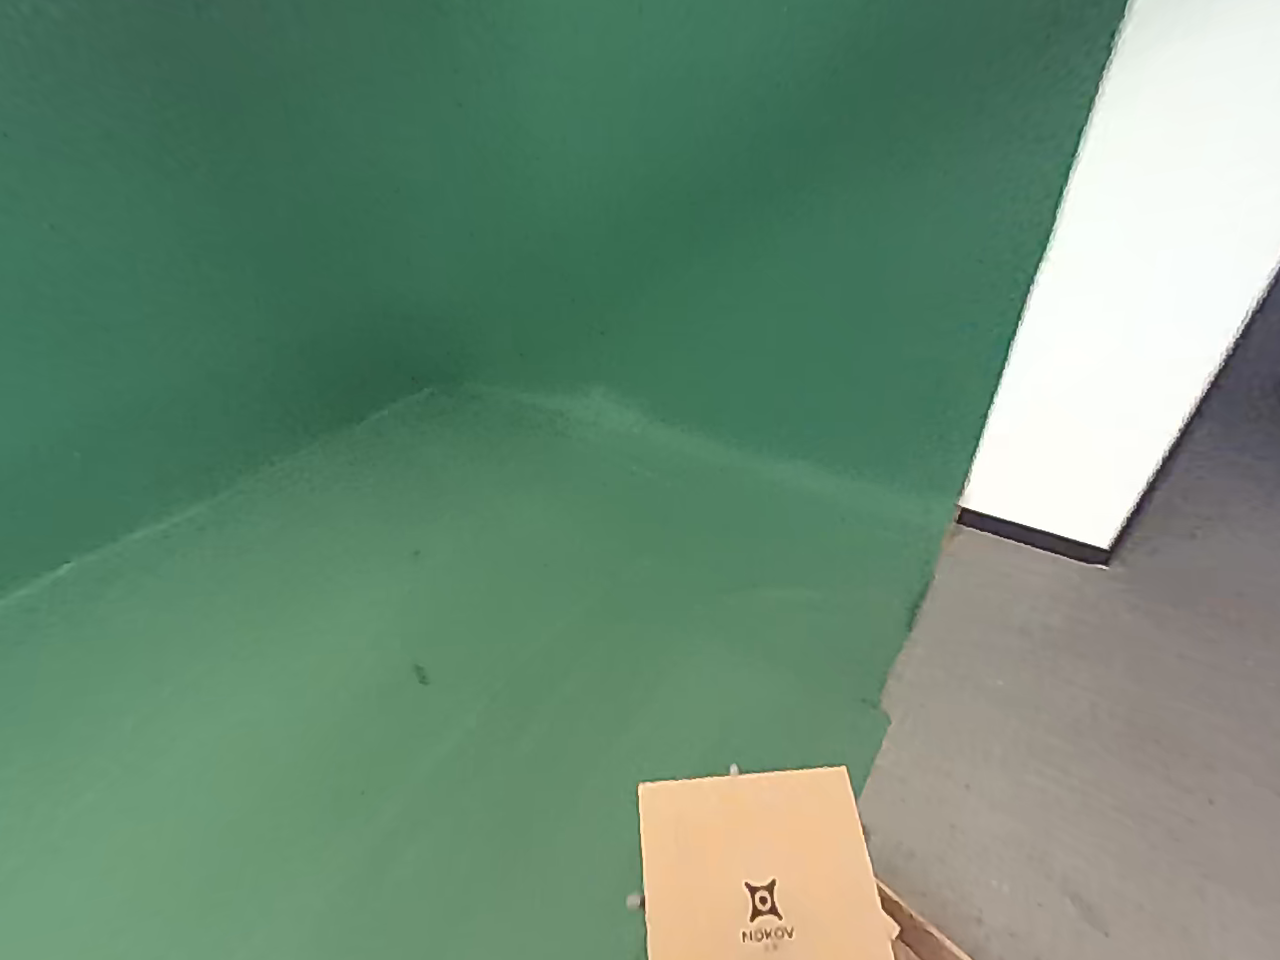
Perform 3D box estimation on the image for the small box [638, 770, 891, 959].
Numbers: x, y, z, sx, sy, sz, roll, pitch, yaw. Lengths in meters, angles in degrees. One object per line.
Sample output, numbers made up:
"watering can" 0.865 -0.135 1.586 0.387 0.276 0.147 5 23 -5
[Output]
"small box" 0.085 0.347 0.437 0.168 0.176 0.179 -5 57 0
